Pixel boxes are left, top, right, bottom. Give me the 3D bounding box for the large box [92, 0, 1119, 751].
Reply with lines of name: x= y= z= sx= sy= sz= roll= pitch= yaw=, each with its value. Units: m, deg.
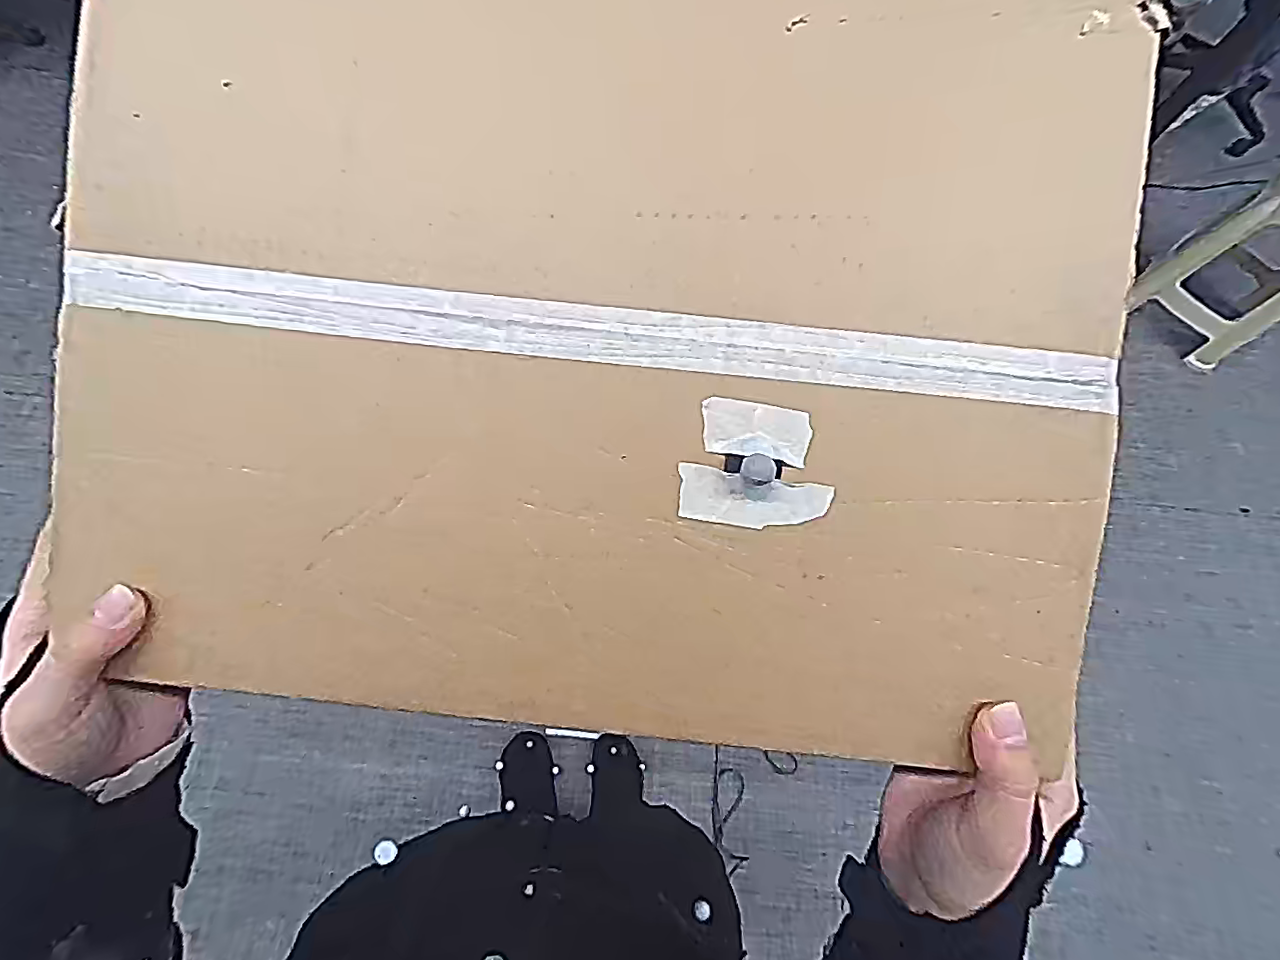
large box: x=-0.017 y=-0.057 z=0.370 sx=0.408 sy=0.320 sz=0.320 roll=6 pitch=92 yaw=-1
